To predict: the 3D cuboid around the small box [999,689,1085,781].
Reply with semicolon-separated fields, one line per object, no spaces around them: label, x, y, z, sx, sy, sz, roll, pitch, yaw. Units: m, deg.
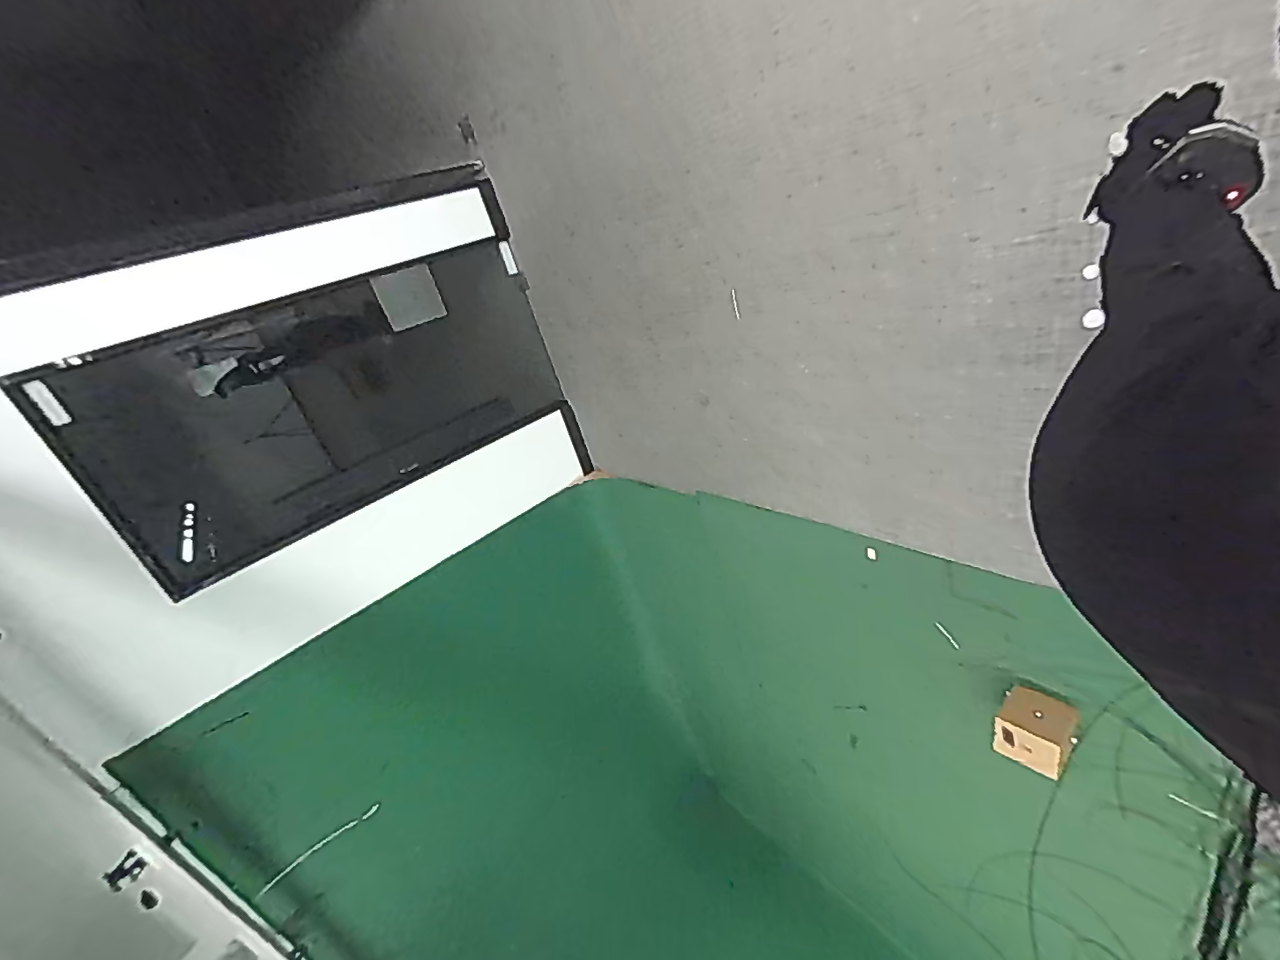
small box;1.280;0.802;1.727;0.179;0.176;0.168;17;132;48
